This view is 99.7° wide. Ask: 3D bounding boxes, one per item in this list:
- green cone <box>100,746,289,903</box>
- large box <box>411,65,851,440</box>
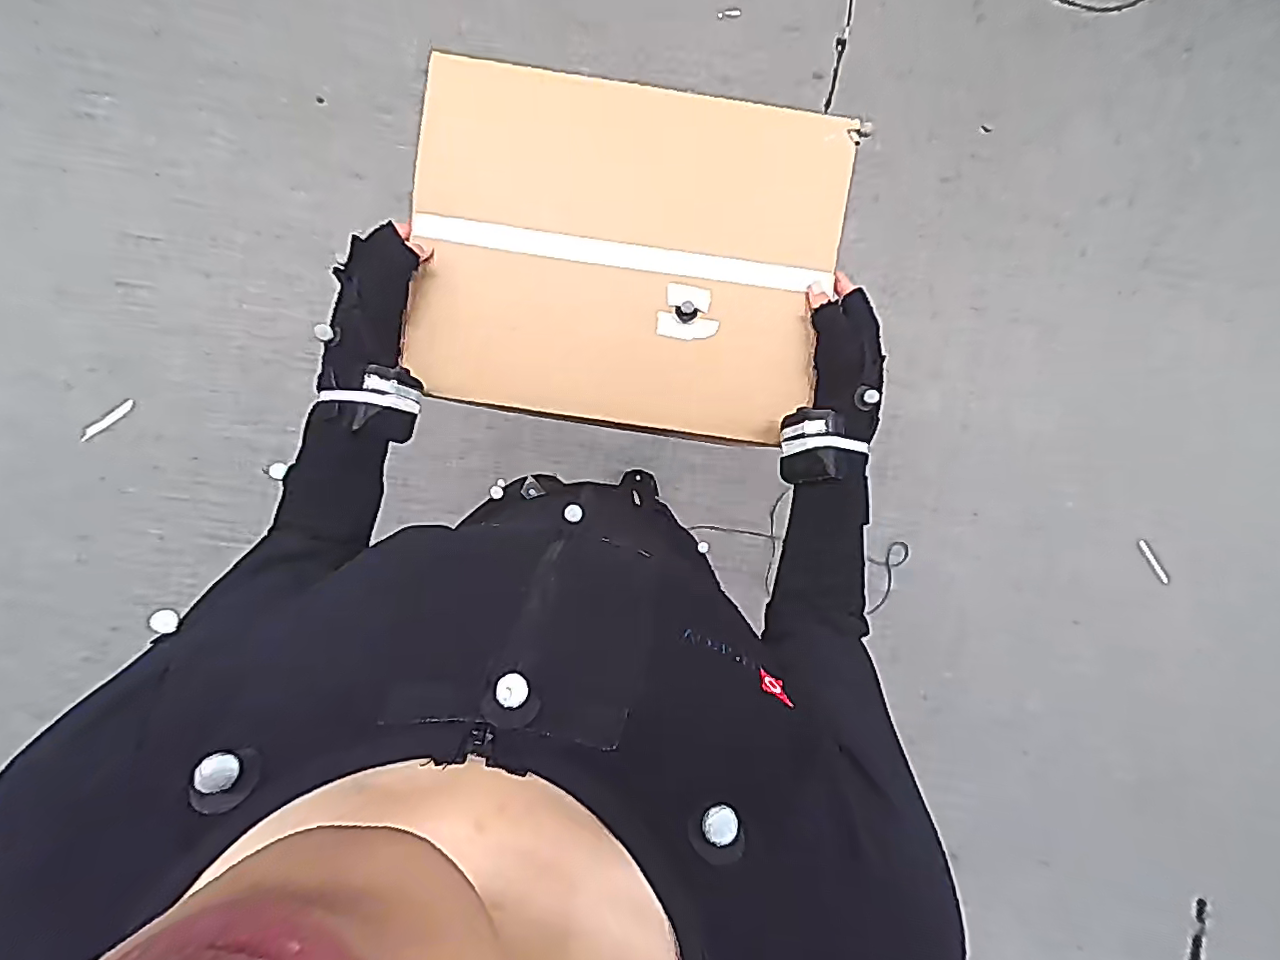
[{"bbox_3d":[-1.038,0.812,1.238,0.202,0.368,0.200,-29,89,-2],"label":"green cone"},{"bbox_3d":[-0.016,-0.227,0.671,0.408,0.320,0.320,8,94,-2],"label":"large box"}]
